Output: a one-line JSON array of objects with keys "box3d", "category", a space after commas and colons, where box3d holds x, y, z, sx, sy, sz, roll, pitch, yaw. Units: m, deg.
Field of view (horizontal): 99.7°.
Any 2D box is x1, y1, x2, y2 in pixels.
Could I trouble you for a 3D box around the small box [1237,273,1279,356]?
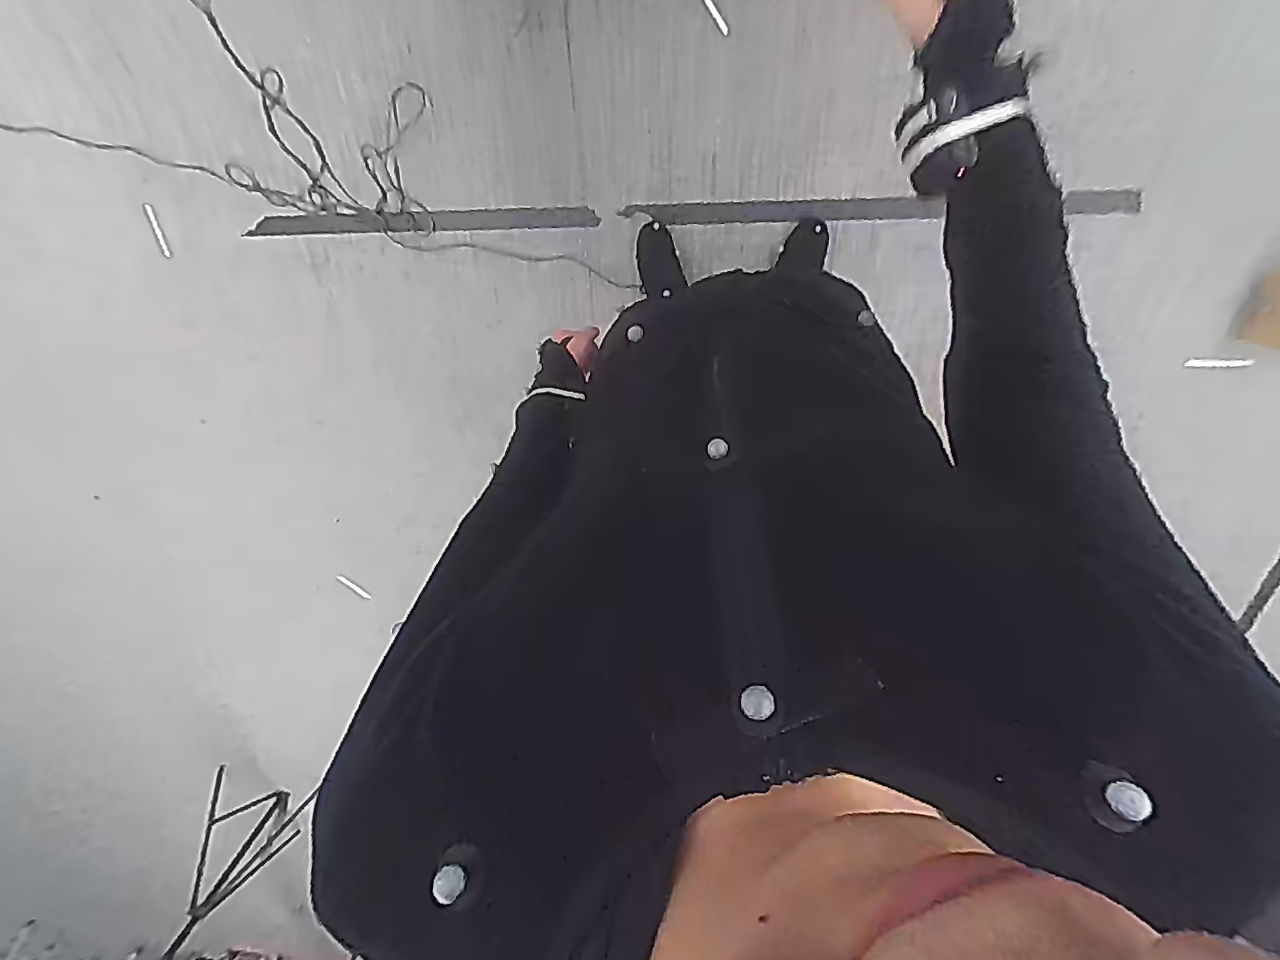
[{"box3d": [1.568, -0.384, 1.243, 0.179, 0.176, 0.168, -1, 118, 10], "category": "small box"}]
